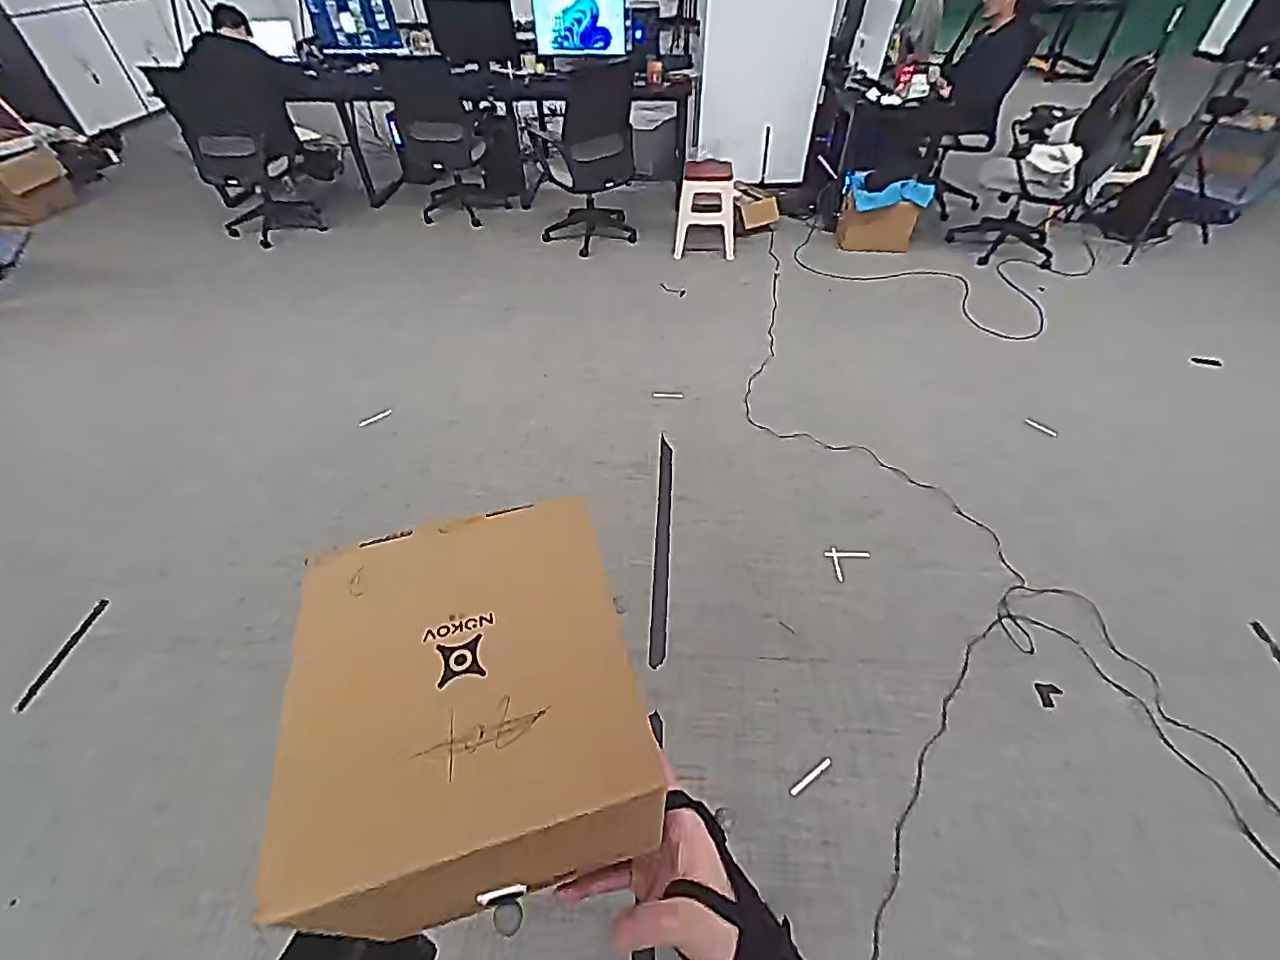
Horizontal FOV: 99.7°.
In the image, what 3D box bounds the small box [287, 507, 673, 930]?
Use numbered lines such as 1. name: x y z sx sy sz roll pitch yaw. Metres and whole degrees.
1. small box: -0.086 0.149 0.343 0.168 0.176 0.179 -14 50 -10
